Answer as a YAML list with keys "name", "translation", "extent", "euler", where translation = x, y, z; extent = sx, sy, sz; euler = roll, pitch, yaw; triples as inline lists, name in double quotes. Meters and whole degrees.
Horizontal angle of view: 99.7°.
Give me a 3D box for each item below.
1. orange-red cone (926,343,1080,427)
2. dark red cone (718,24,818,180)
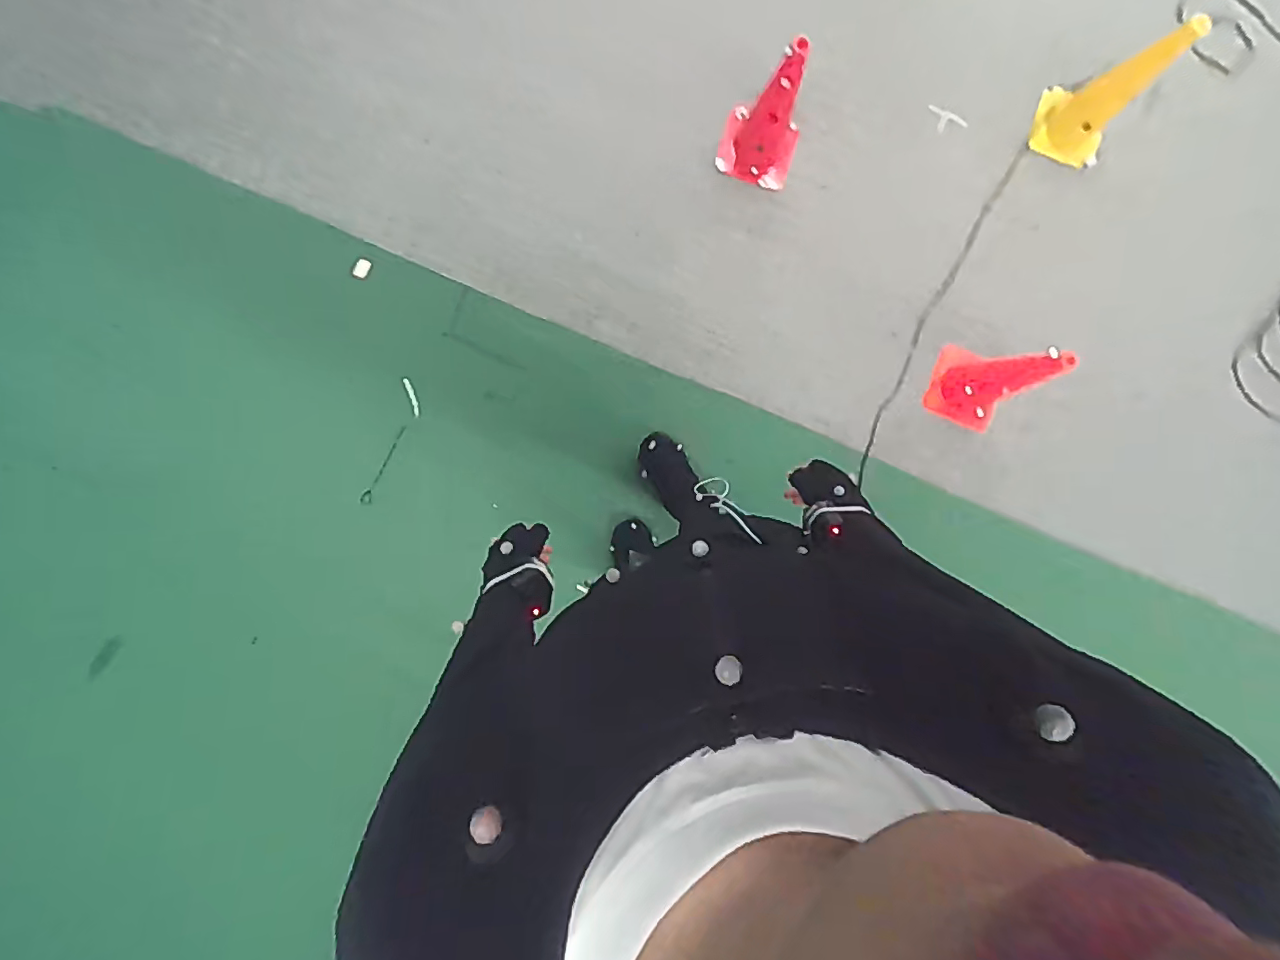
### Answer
- name: "orange-red cone"
  translation: [0.935, -0.272, 1.359]
  extent: [0.198, 0.360, 0.199]
  euler: [23, 87, -3]
- name: "dark red cone"
  translation: [0.337, -0.933, 1.312]
  extent: [0.202, 0.394, 0.201]
  euler: [17, 90, -3]
